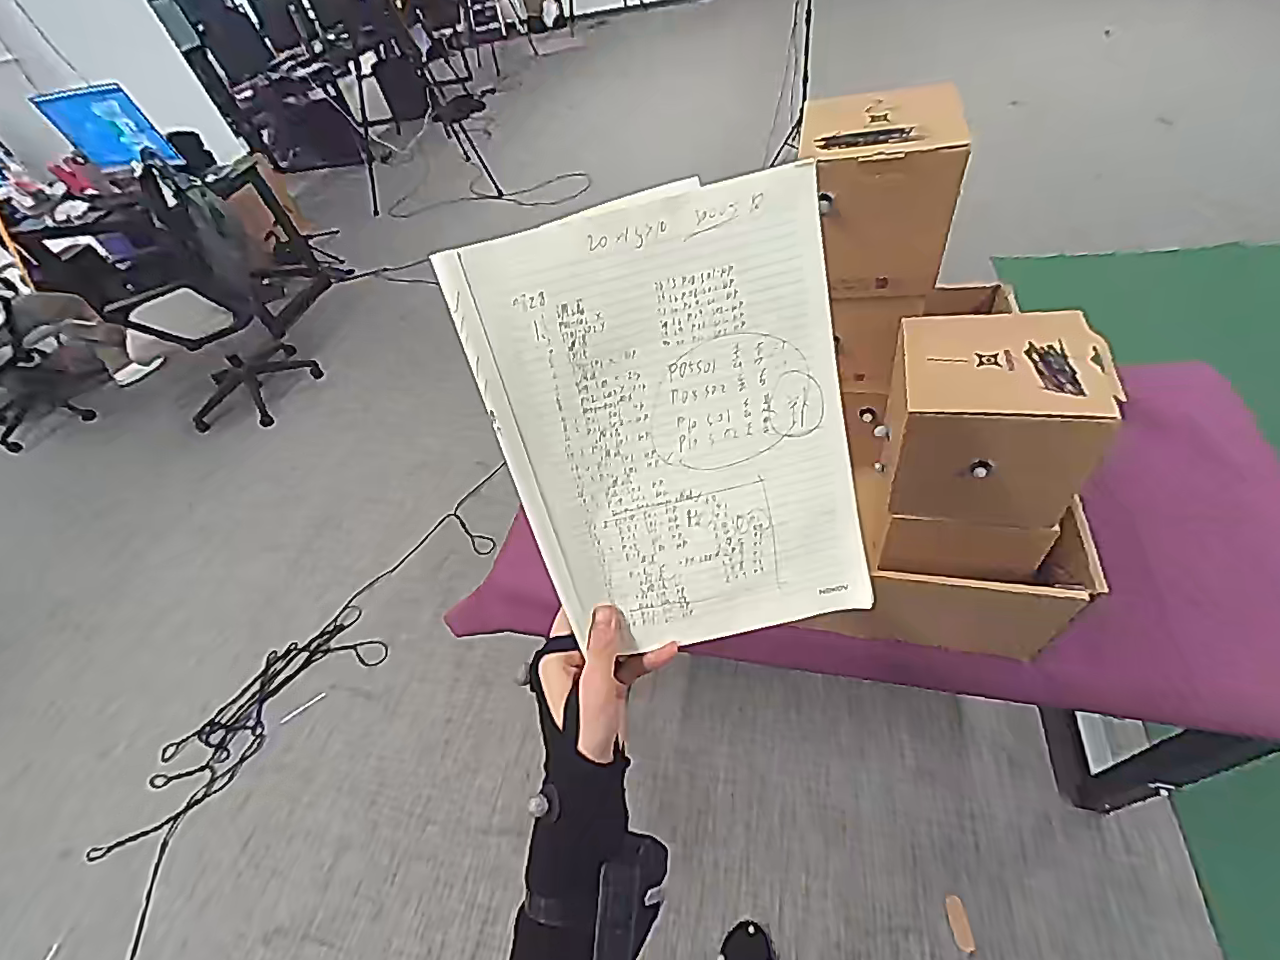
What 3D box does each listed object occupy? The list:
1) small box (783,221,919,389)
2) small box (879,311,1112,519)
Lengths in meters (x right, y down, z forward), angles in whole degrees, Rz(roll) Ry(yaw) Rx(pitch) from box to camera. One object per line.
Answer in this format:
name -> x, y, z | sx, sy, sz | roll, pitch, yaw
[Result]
small box -> 0.303, -0.250, 0.792 | 0.168, 0.176, 0.179 | 5, 53, 18
small box -> 0.377, -0.071, 0.612 | 0.179, 0.176, 0.168 | 4, 50, 20
